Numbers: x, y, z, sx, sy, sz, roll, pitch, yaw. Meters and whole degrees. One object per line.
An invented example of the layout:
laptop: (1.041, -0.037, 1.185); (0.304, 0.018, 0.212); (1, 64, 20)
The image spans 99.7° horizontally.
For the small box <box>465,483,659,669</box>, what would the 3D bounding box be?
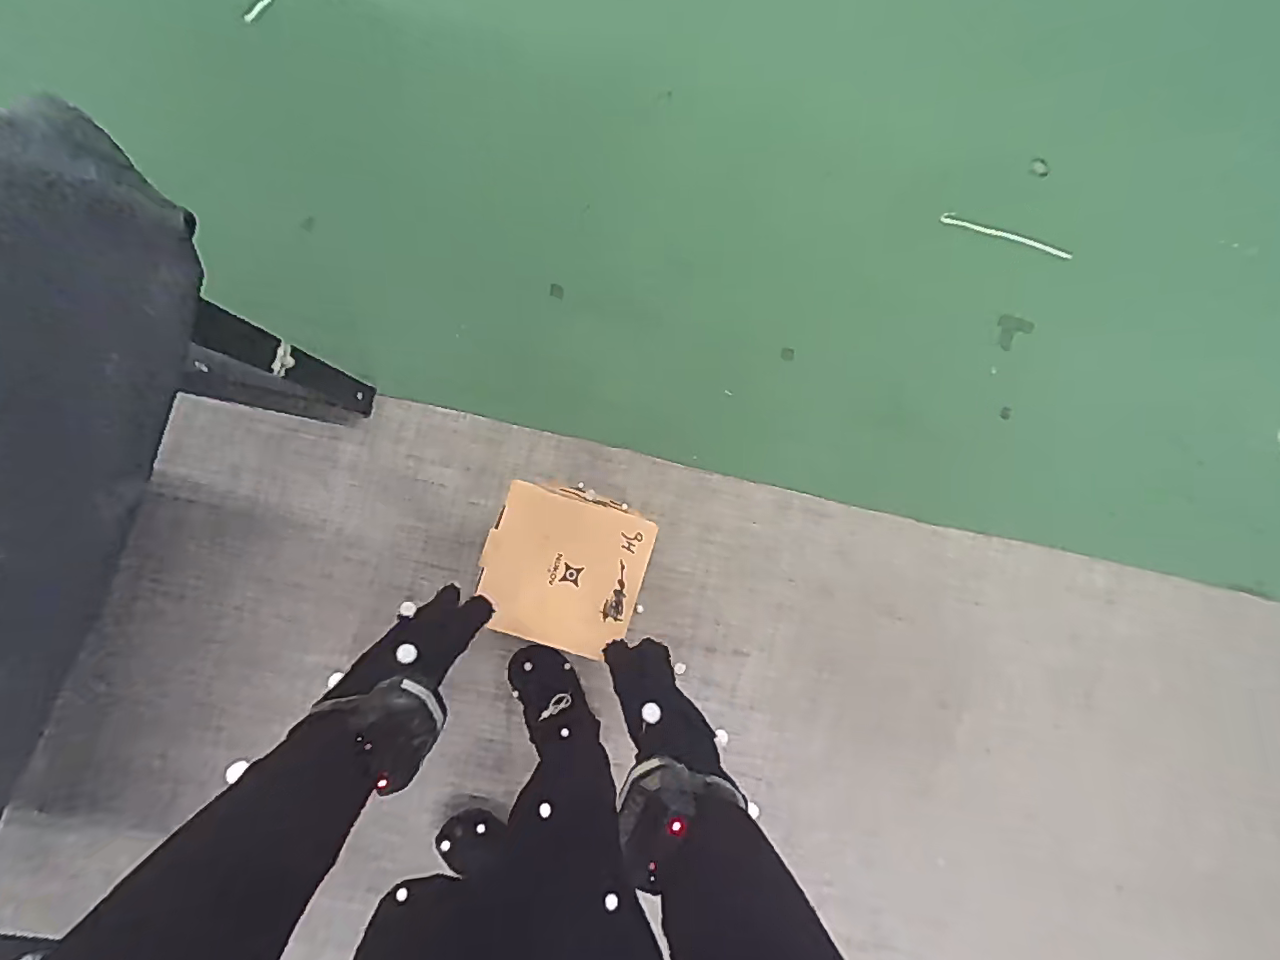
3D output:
small box: (-0.090, 0.113, 0.679); (0.179, 0.176, 0.168); (18, 85, -2)
